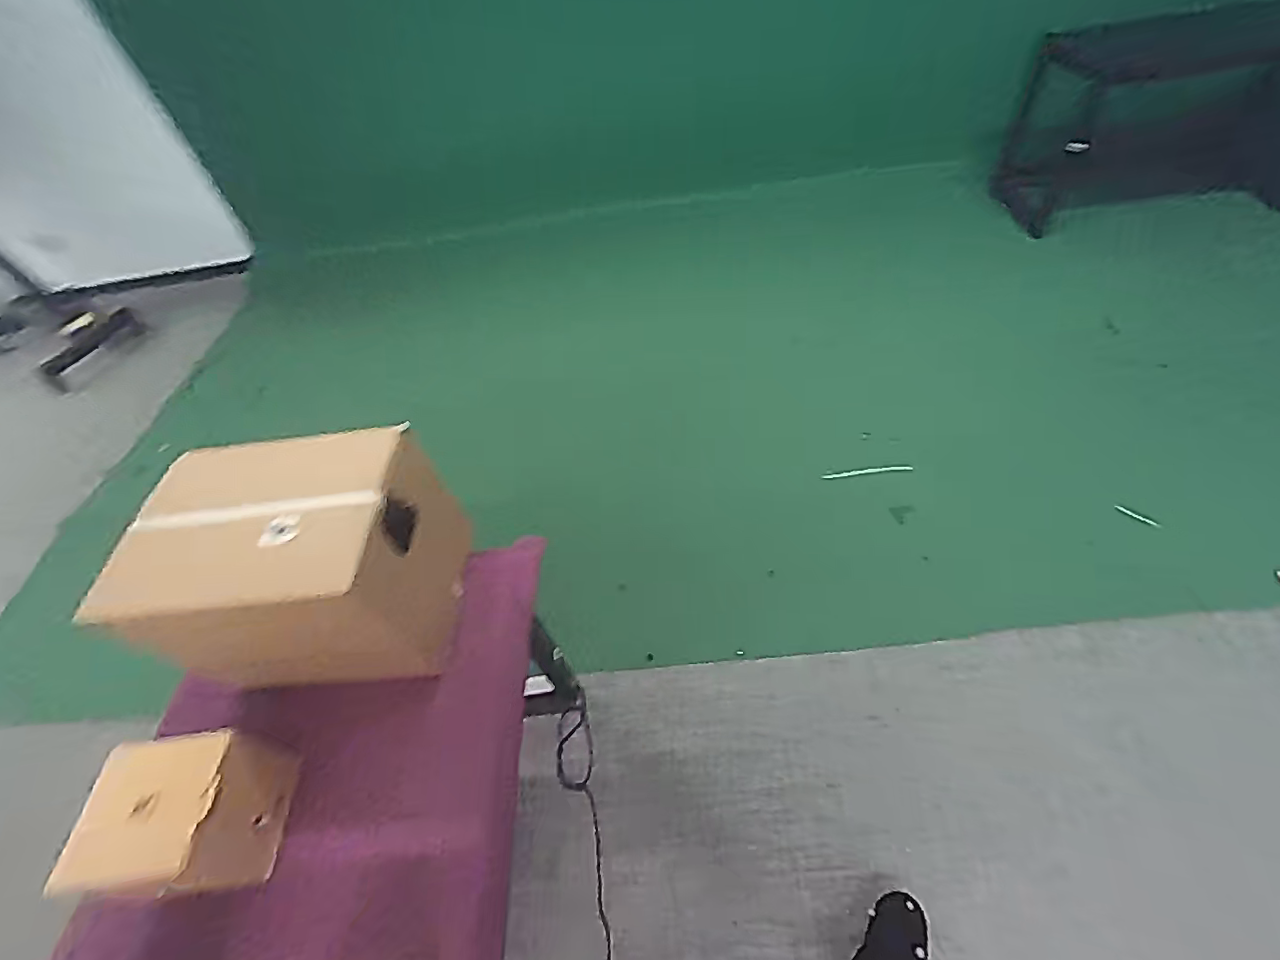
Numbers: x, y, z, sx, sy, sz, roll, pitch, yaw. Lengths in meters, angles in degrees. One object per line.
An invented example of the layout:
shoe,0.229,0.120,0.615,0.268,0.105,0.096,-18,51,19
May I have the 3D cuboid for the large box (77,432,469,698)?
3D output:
large box,-0.559,0.155,0.928,0.408,0.320,0.320,-7,51,3
